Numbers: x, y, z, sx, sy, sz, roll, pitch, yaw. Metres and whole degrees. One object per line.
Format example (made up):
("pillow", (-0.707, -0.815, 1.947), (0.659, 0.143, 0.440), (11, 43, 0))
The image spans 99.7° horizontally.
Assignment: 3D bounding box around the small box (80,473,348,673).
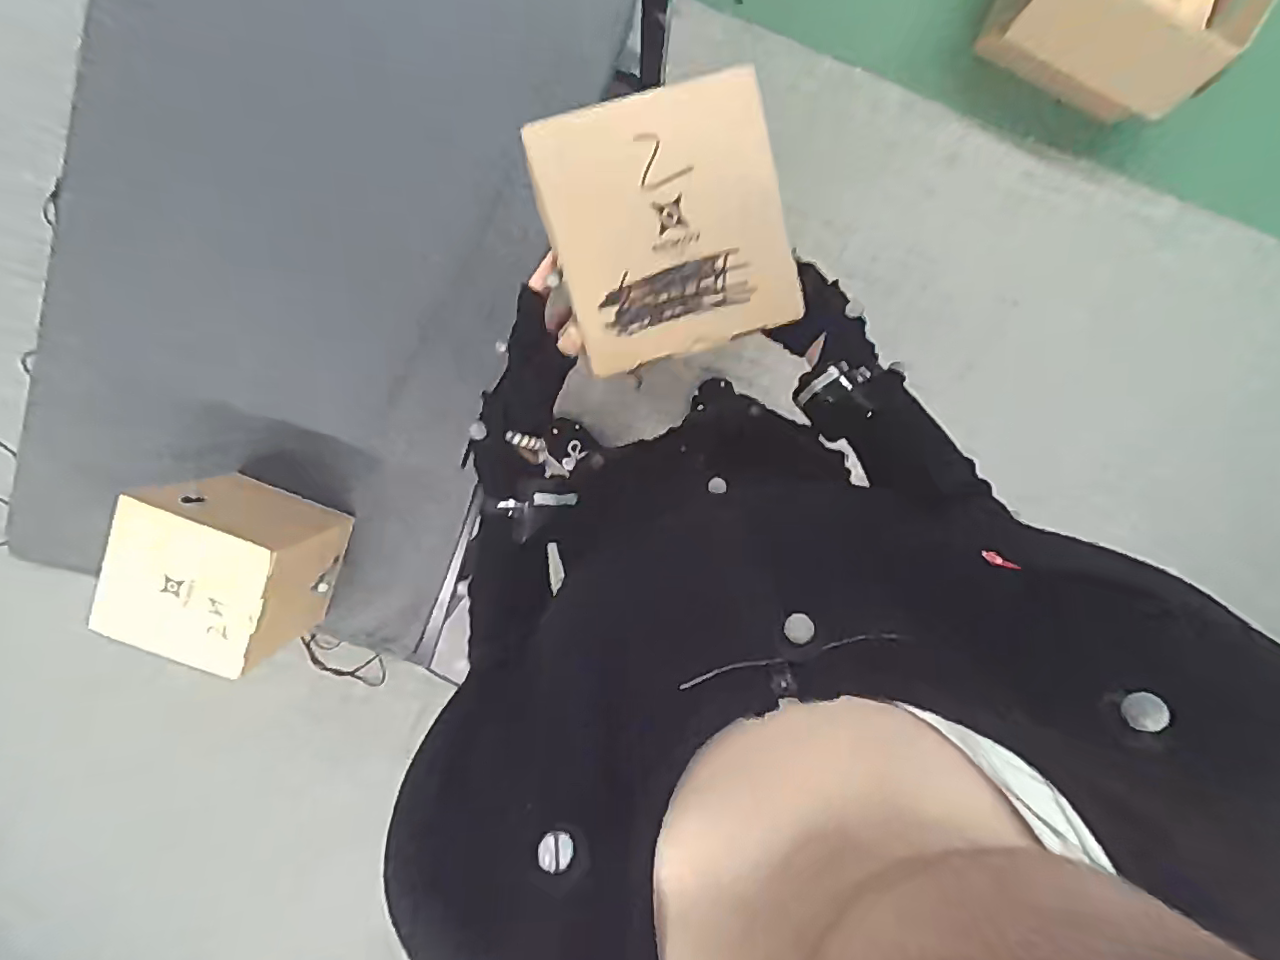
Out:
("small box", (-0.505, 0.099, 0.666), (0.179, 0.176, 0.168), (22, 99, -3))
